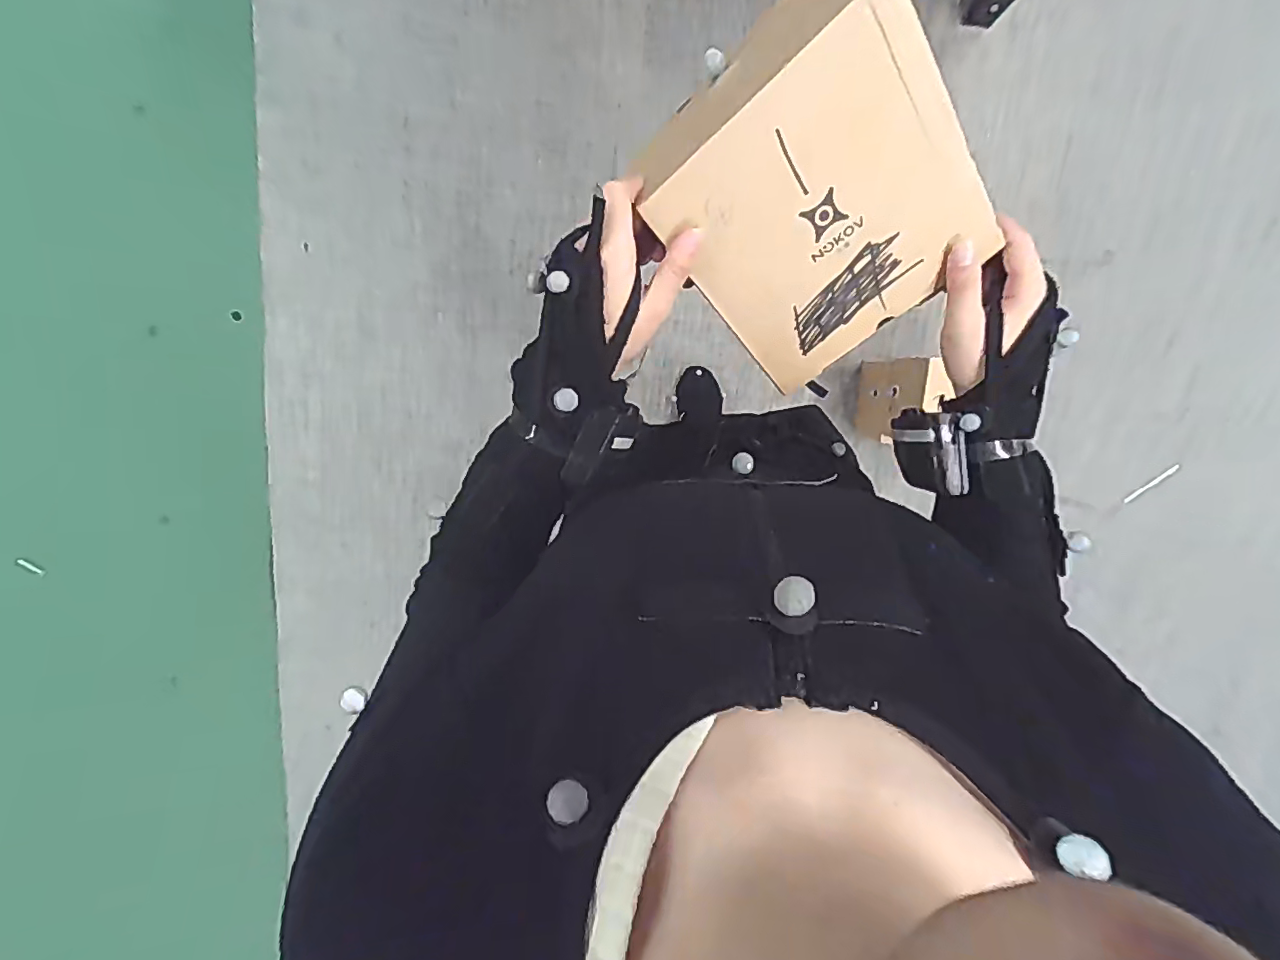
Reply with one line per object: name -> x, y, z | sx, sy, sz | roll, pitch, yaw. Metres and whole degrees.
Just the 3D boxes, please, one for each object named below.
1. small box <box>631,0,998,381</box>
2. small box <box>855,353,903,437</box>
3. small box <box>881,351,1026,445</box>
small box -> 0.110, -0.214, 0.394 | 0.168, 0.176, 0.179 | -35, 123, 22
small box -> 0.602, -0.191, 1.221 | 0.168, 0.176, 0.179 | 3, 102, 2
small box -> 0.602, -0.165, 1.059 | 0.179, 0.176, 0.168 | 2, 102, 3
